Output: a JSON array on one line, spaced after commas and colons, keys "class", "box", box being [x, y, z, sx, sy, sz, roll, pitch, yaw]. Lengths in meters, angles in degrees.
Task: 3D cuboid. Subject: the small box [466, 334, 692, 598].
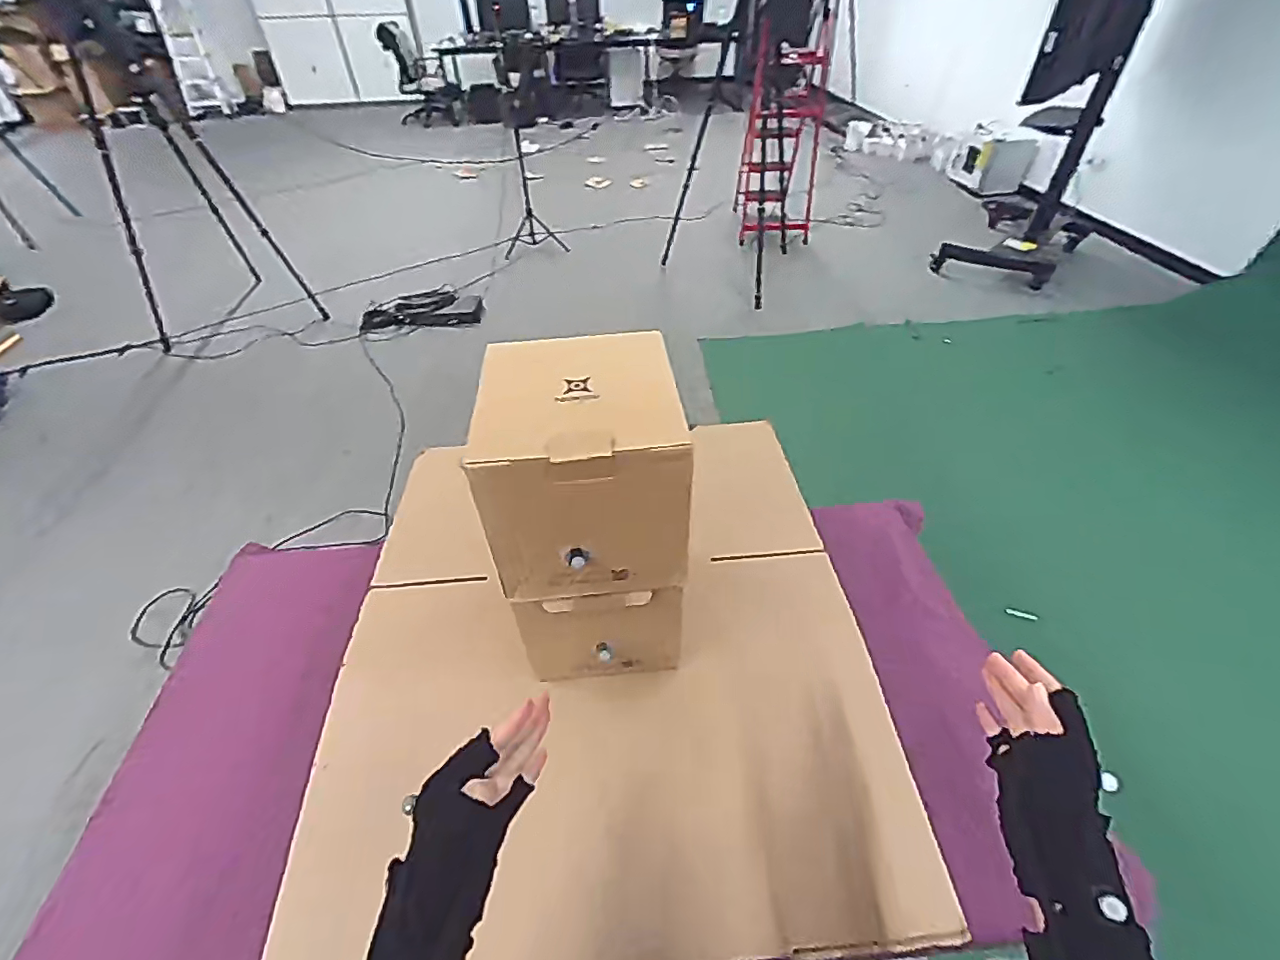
[{"class": "small box", "box": [-0.050, -0.015, 0.503, 0.168, 0.176, 0.179, -6, 44, -4]}]

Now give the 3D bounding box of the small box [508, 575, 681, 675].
[{"class": "small box", "box": [-0.046, 0.098, 0.620, 0.168, 0.176, 0.179, -5, 44, -1]}]
